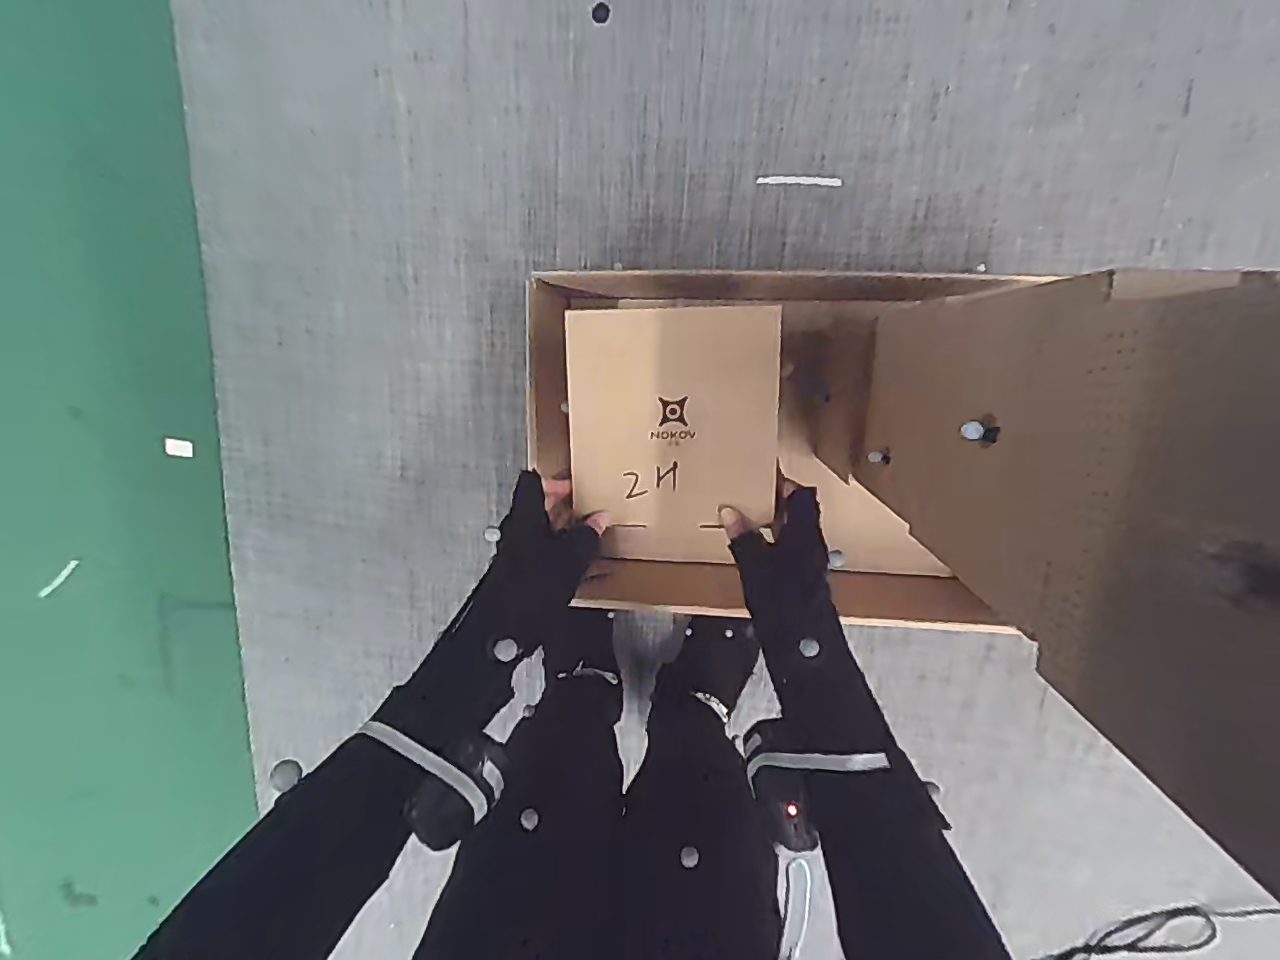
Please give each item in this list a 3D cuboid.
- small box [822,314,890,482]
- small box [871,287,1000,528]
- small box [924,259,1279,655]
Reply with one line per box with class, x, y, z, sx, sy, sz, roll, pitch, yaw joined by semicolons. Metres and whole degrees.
small box;0.315;-0.102;0.632;0.168;0.176;0.179;-1;103;8
small box;0.307;-0.062;0.455;0.168;0.176;0.179;3;103;7
small box;0.288;-0.022;0.315;0.168;0.176;0.179;3;103;5
